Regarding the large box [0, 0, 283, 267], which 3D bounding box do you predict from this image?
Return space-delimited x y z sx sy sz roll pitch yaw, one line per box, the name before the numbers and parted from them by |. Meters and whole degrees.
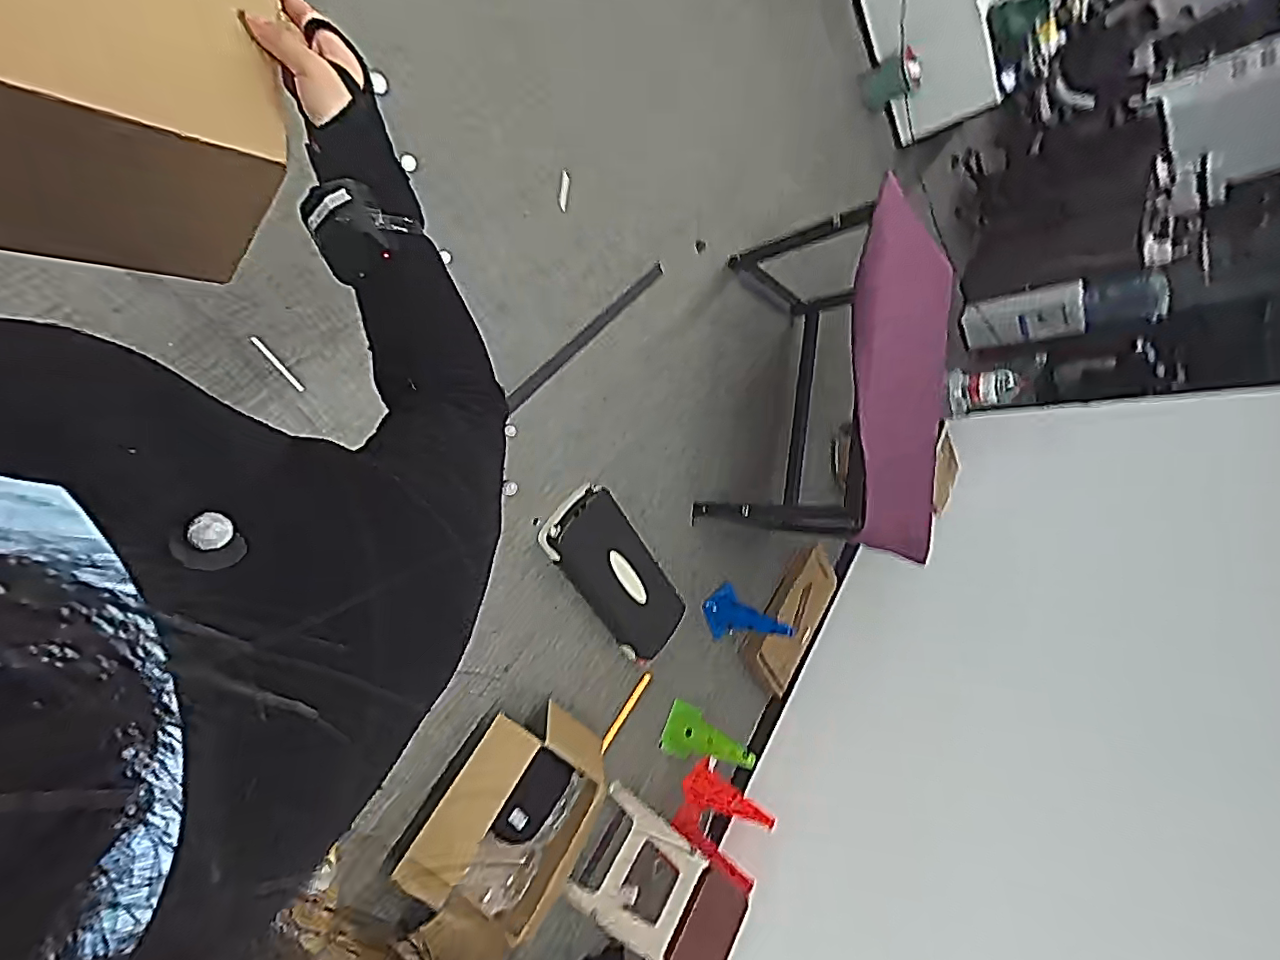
large box | -0.543 -0.382 0.394 0.408 0.320 0.320 -8 92 -44
